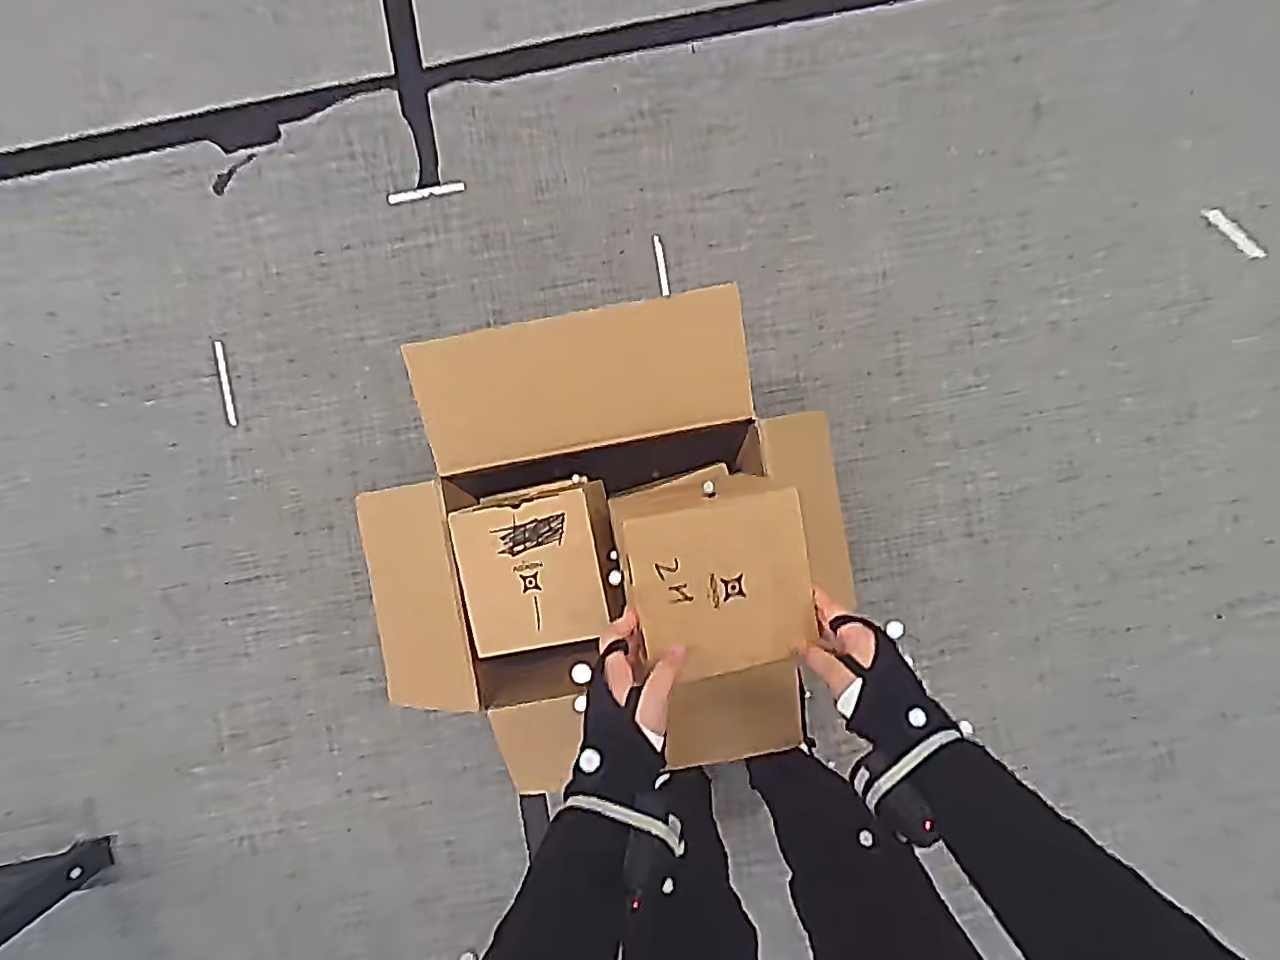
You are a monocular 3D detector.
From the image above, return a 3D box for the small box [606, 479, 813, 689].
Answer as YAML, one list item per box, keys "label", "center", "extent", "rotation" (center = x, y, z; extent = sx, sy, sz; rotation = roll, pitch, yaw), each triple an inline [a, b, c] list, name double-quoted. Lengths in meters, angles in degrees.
- label: "small box"
  center: [0.066, 0.099, 0.601]
  extent: [0.179, 0.176, 0.168]
  rotation: [-11, 97, -6]
